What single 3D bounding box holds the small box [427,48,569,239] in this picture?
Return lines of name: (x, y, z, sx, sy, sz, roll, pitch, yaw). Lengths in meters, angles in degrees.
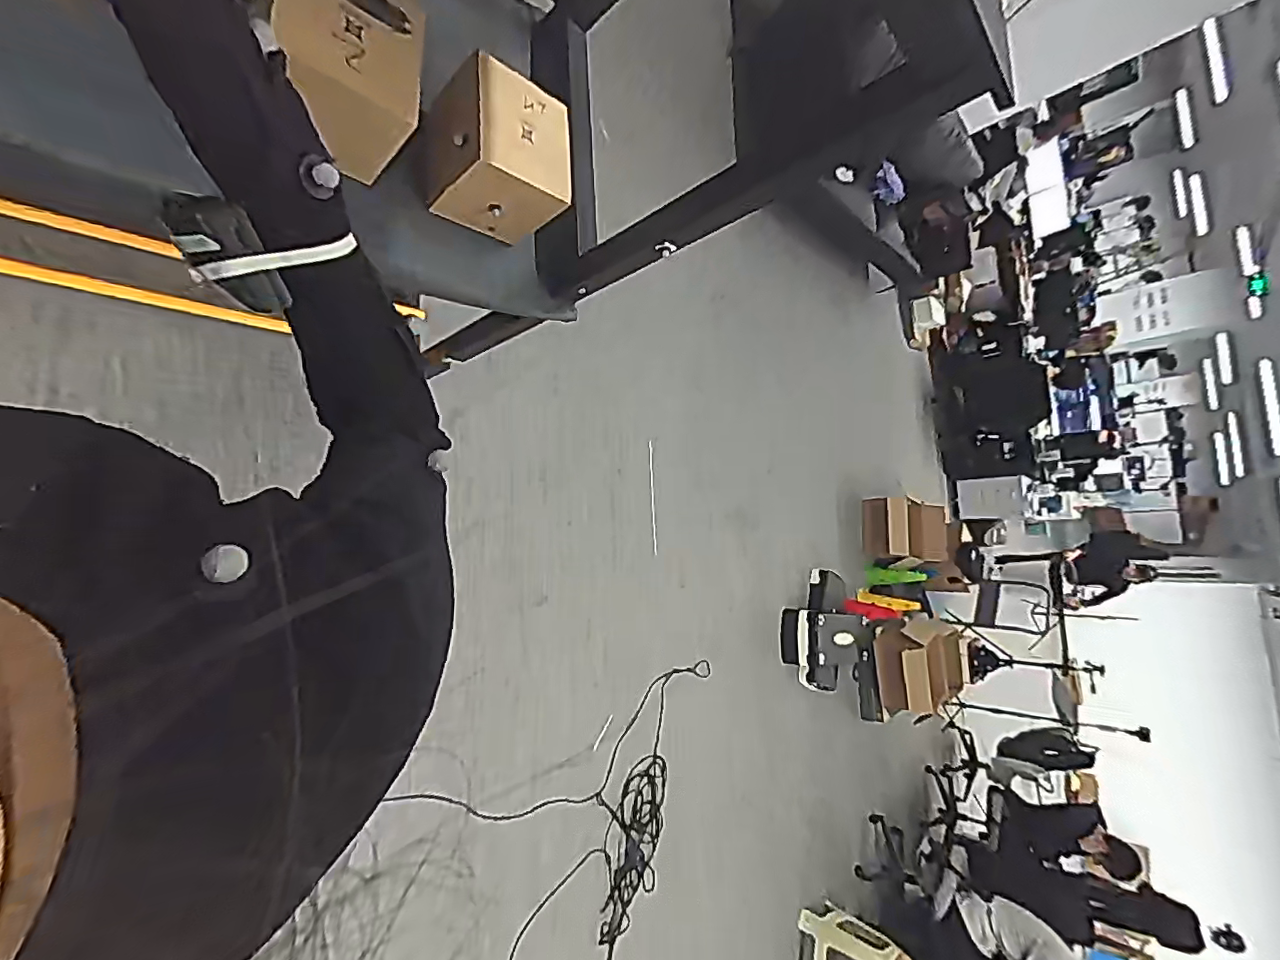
small box: (-0.233, -0.529, 0.883, 0.168, 0.176, 0.179, 3, 81, -46)
